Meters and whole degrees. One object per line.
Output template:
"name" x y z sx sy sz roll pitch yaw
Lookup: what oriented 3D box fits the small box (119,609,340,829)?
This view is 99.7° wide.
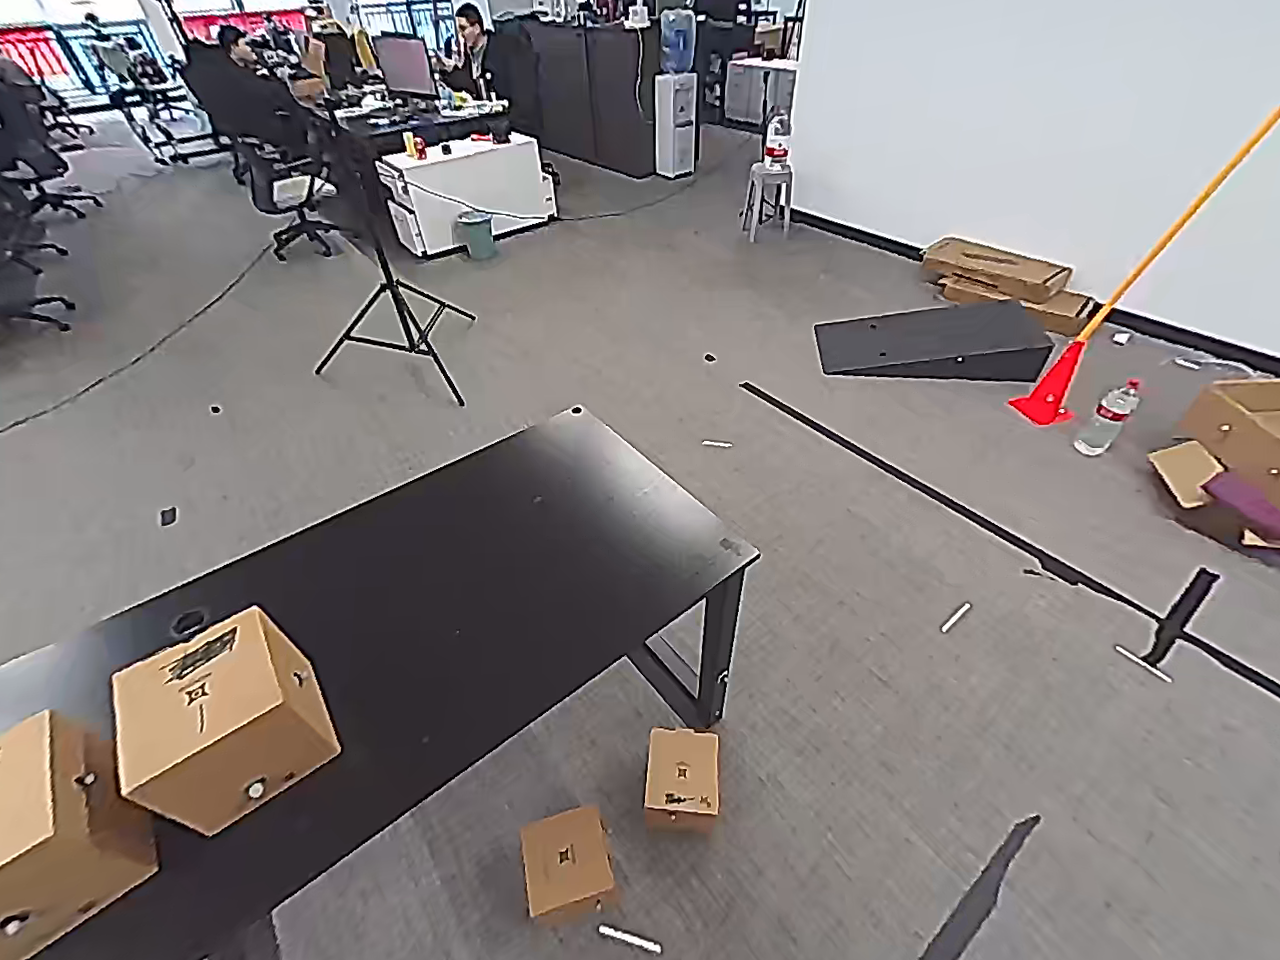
"small box" -0.533 0.314 0.715 0.168 0.176 0.179 -30 50 -25

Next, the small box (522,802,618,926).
"small box" -0.151 0.849 1.194 0.179 0.176 0.168 -14 44 -10

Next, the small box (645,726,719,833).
"small box" 0.102 0.724 1.307 0.168 0.176 0.179 2 44 6
